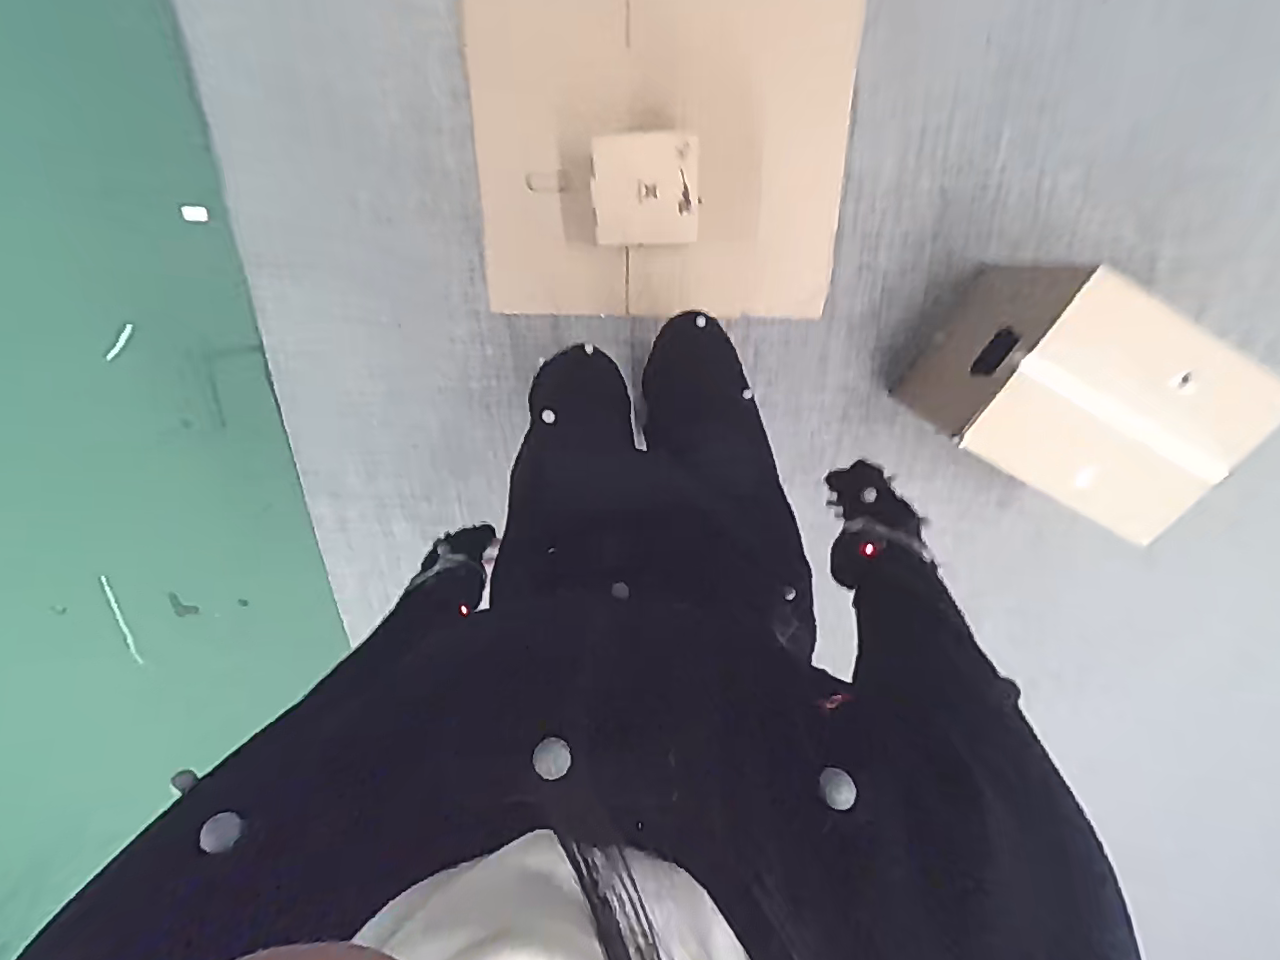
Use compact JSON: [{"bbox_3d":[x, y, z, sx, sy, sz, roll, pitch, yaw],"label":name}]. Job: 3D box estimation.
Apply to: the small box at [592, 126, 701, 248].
[{"bbox_3d":[0.019,-0.516,0.975,0.179,0.176,0.168,-2,110,7],"label":"small box"}]
